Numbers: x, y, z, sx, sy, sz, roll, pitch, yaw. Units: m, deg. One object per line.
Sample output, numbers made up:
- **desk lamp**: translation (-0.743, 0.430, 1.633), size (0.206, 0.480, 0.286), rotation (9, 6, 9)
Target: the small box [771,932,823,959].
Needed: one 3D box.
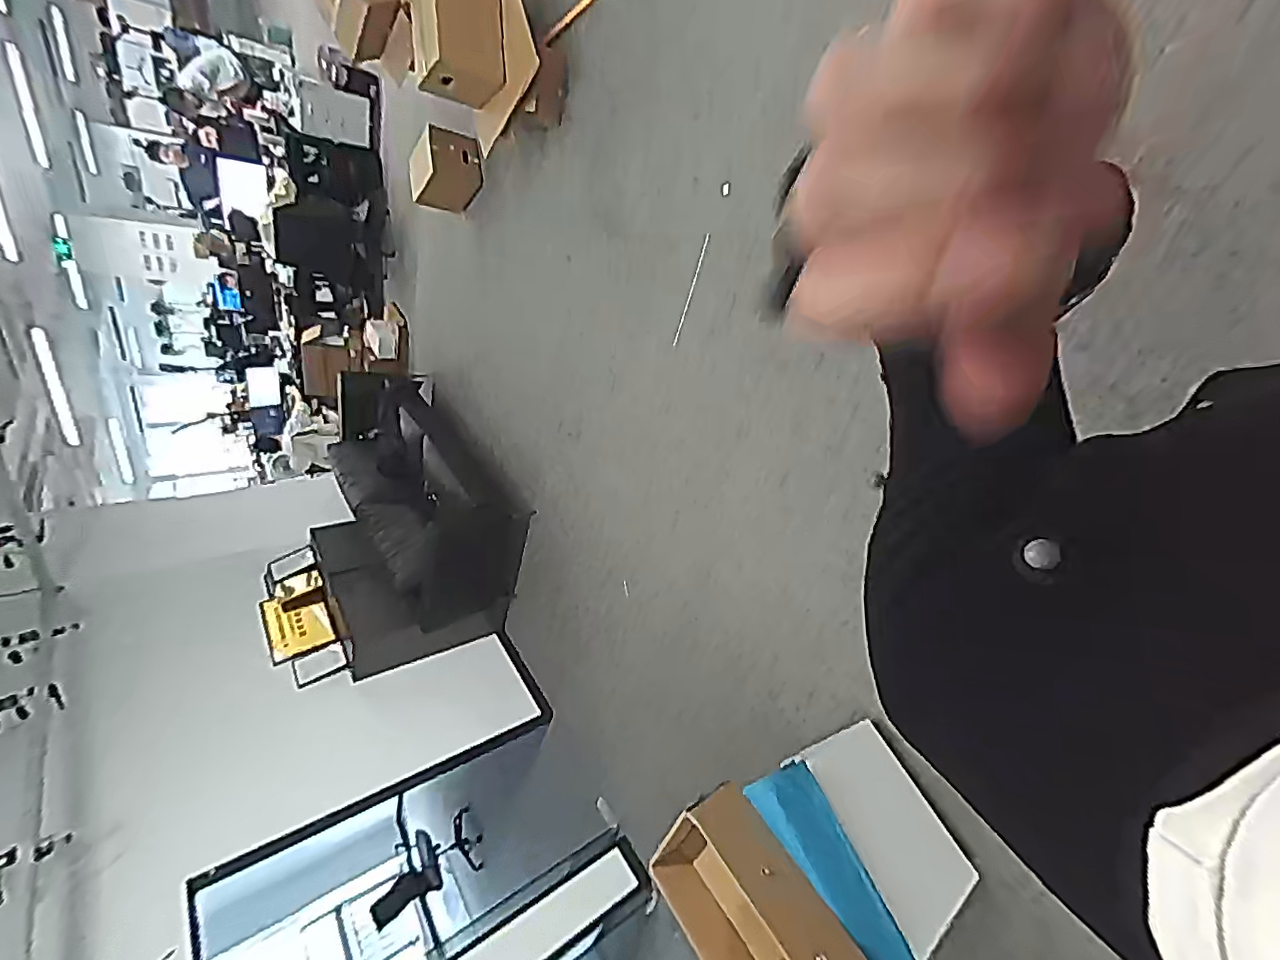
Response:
- **small box**: translation (0.385, 1.298, 1.355), size (0.168, 0.176, 0.179), rotation (45, 131, 37)
